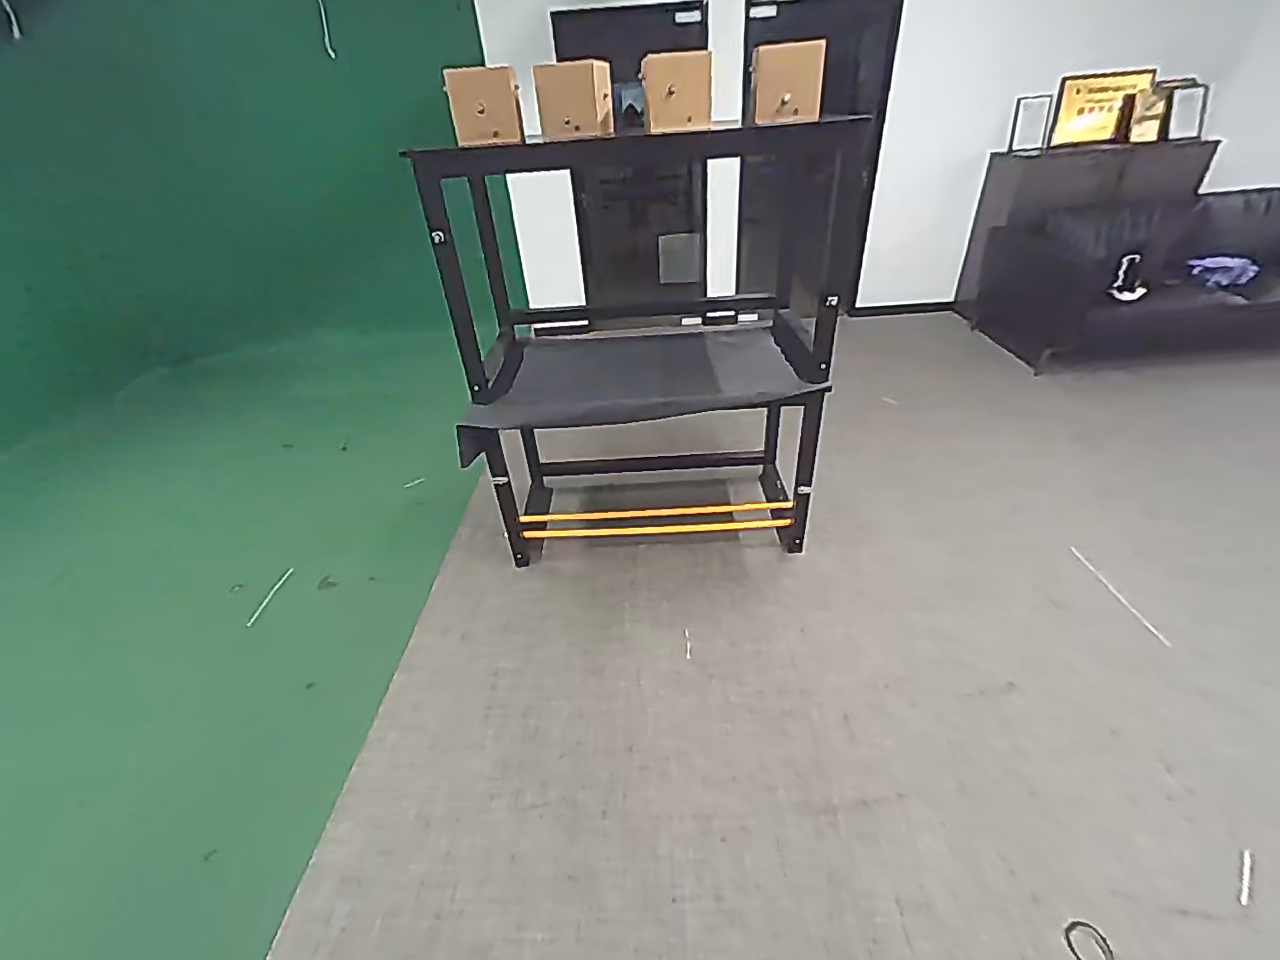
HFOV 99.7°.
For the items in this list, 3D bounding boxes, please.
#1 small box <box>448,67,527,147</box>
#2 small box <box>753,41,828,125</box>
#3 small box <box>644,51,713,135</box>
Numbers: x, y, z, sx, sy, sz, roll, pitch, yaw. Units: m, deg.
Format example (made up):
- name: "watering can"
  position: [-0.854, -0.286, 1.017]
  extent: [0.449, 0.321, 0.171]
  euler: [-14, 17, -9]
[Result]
- name: "small box"
  position: [-0.410, -1.021, 1.486]
  extent: [0.168, 0.176, 0.179]
  euler: [-5, 34, -2]
- name: "small box"
  position: [0.397, -1.064, 1.458]
  extent: [0.168, 0.176, 0.179]
  euler: [-1, 35, 6]
- name: "small box"
  position: [0.104, -1.042, 1.464]
  extent: [0.168, 0.176, 0.179]
  euler: [-6, 34, -2]
